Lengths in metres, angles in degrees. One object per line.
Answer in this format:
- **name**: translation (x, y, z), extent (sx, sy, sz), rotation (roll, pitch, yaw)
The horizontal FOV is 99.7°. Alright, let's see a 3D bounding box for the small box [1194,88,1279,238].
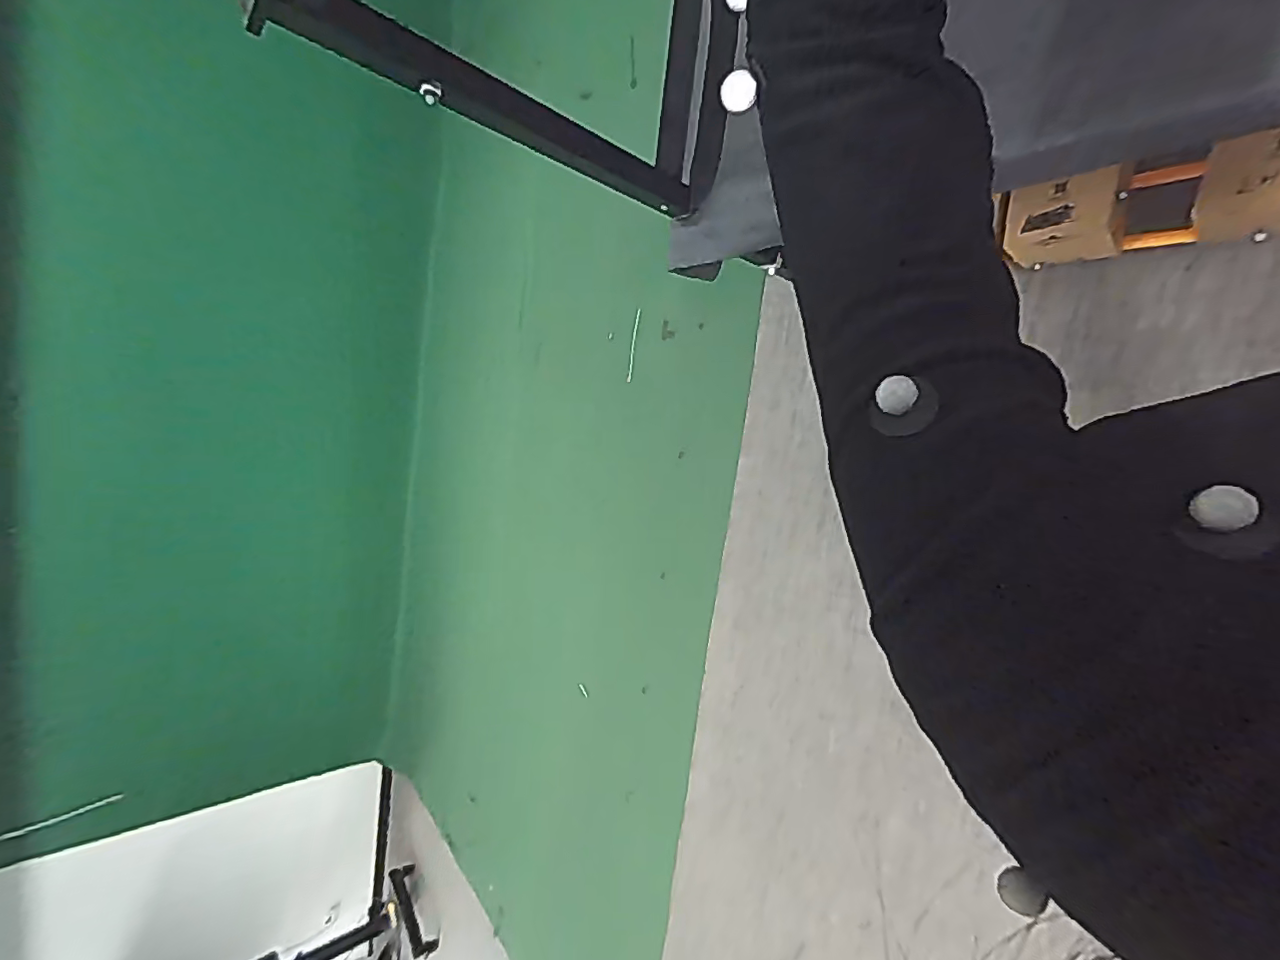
- **small box**: translation (1.051, -0.515, 0.882), extent (0.168, 0.176, 0.179), rotation (21, 106, 47)
